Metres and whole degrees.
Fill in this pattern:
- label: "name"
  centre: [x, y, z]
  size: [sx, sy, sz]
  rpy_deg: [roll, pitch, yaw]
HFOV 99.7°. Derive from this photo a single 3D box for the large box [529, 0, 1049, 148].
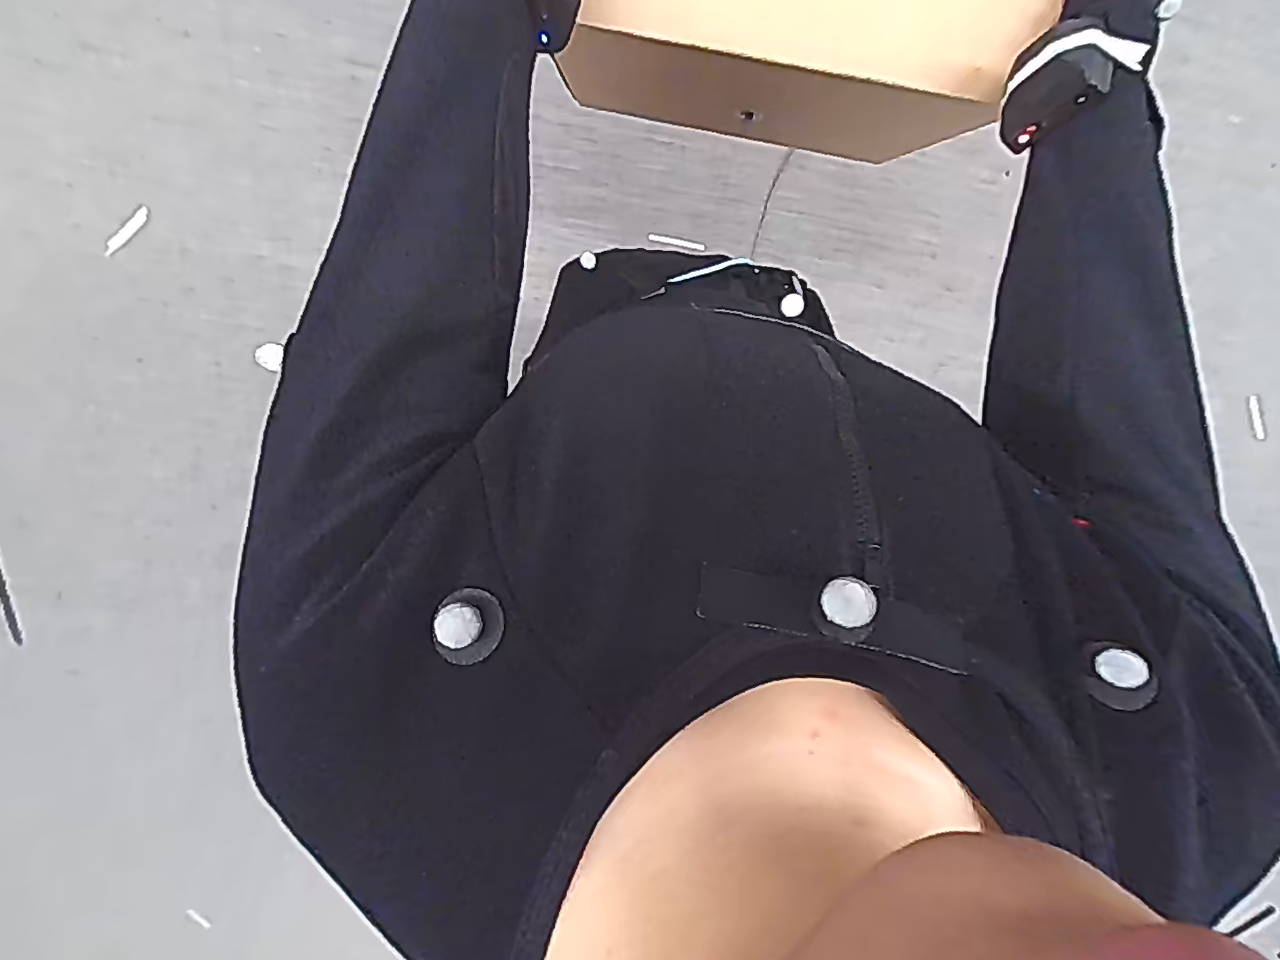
- label: "large box"
  centre: [0.138, -0.536, 0.505]
  size: [0.408, 0.320, 0.320]
  rpy_deg: [10, 113, -2]
